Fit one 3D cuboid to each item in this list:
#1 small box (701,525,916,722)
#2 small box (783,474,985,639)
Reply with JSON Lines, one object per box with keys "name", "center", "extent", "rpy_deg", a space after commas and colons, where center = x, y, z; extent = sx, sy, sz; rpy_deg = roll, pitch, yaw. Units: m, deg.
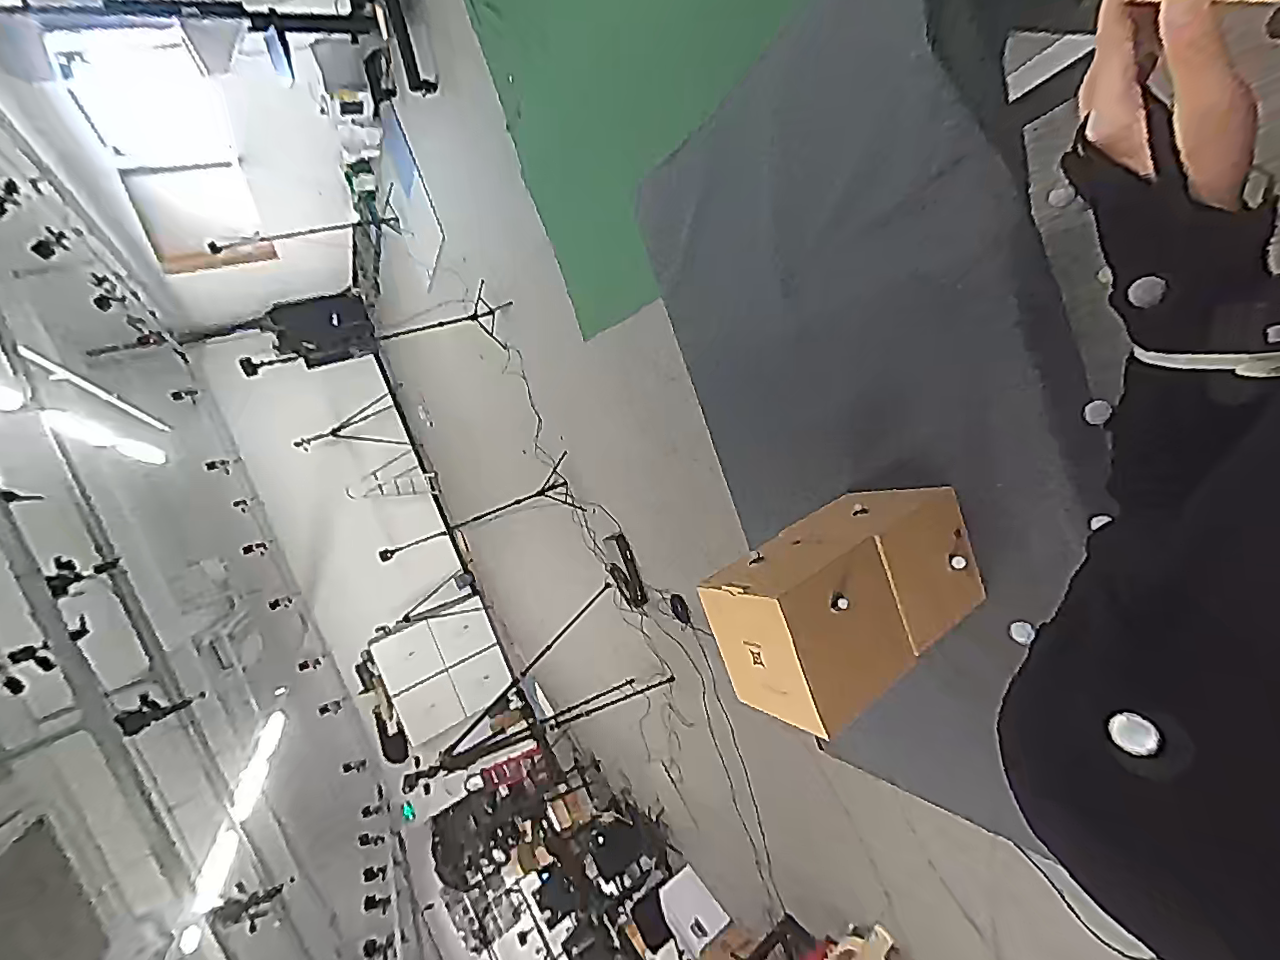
{"name": "small box", "center": [0.214, 0.165, 0.694], "extent": [0.168, 0.176, 0.179], "rpy_deg": [-11, 102, 63]}
{"name": "small box", "center": [0.344, 0.100, 0.769], "extent": [0.179, 0.176, 0.168], "rpy_deg": [-10, 103, 61]}
